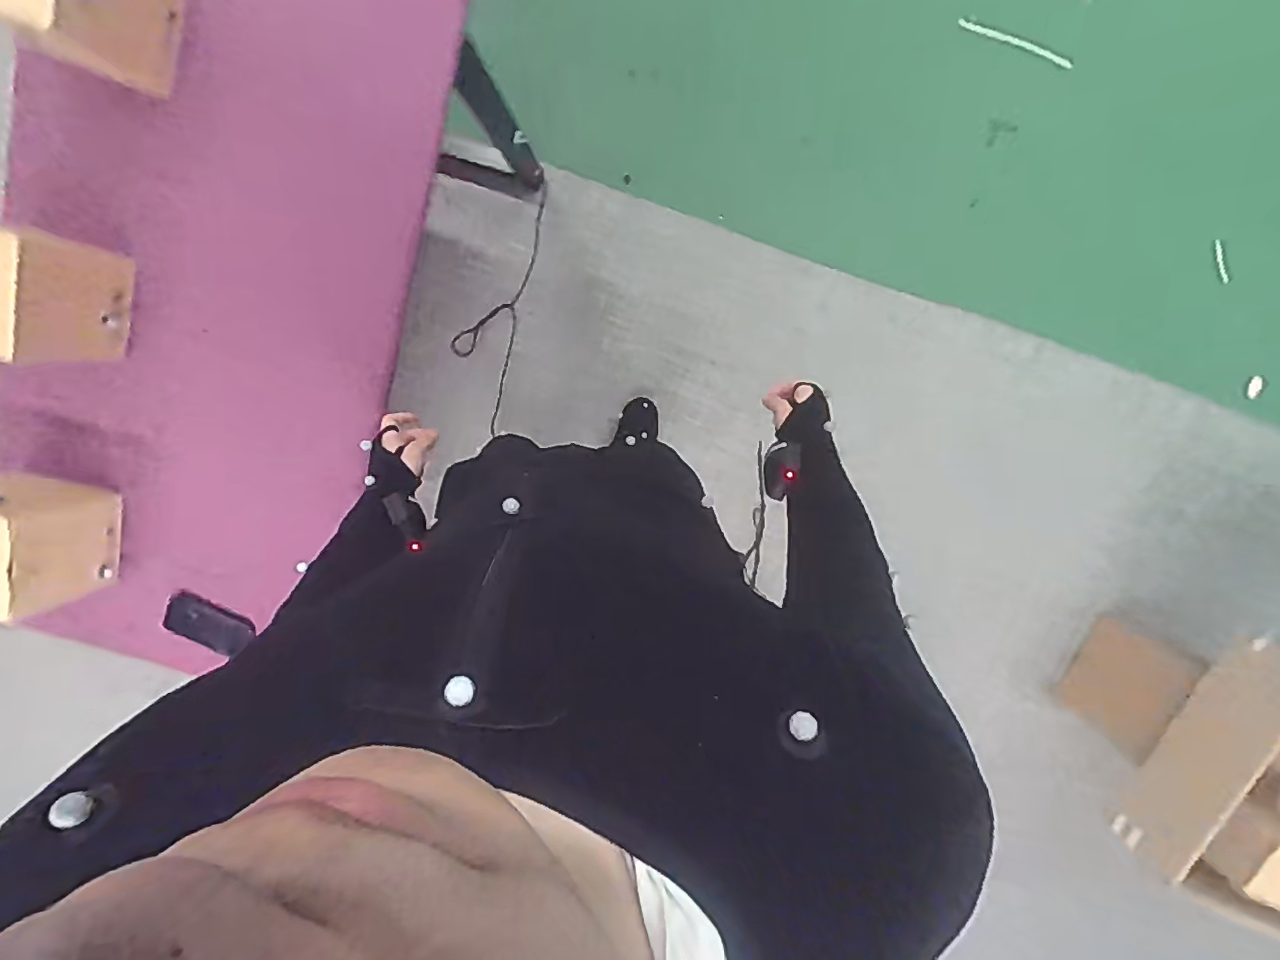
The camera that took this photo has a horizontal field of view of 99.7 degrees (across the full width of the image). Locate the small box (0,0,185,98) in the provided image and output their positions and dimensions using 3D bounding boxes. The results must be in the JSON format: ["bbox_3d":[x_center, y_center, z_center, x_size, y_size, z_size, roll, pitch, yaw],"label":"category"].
[{"bbox_3d":[-0.757,-0.642,0.701,0.179,0.176,0.168,20,101,-2],"label":"small box"}]

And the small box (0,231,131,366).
[{"bbox_3d":[-0.899,-0.263,0.773,0.179,0.176,0.168,16,101,-3],"label":"small box"}]

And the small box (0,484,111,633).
[{"bbox_3d":[-0.985,0.111,0.840,0.179,0.176,0.168,13,100,-1],"label":"small box"}]

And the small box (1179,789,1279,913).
[{"bbox_3d":[1.426,0.853,1.239,0.179,0.176,0.168,25,100,-2],"label":"small box"}]
